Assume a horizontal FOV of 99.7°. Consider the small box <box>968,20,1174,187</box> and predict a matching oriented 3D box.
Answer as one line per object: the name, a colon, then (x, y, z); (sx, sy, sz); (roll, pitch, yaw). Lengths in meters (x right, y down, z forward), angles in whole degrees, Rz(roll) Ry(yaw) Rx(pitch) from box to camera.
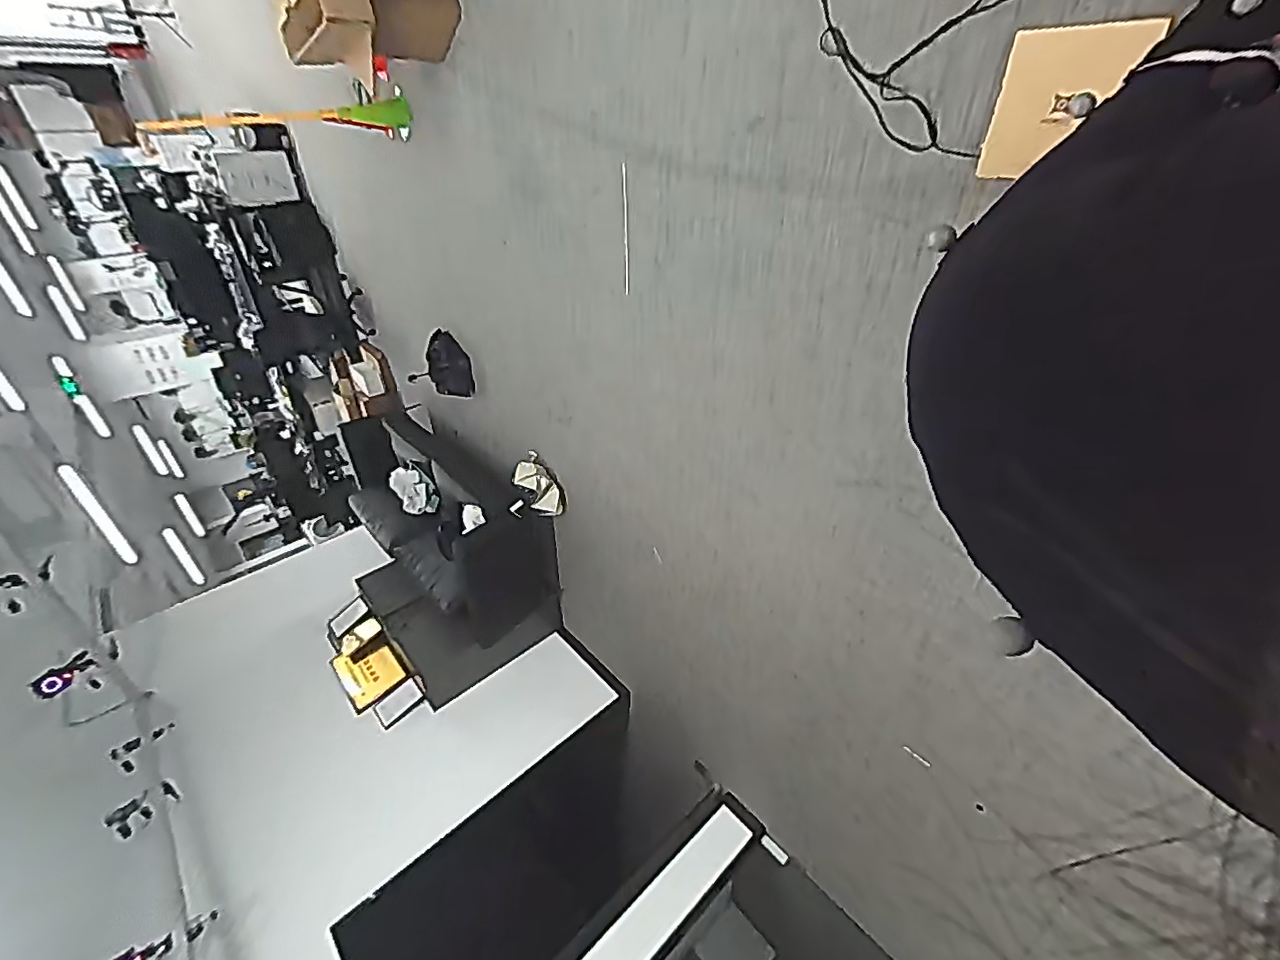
small box: (0.614, -0.535, 0.775); (0.168, 0.176, 0.179); (32, 138, 37)
